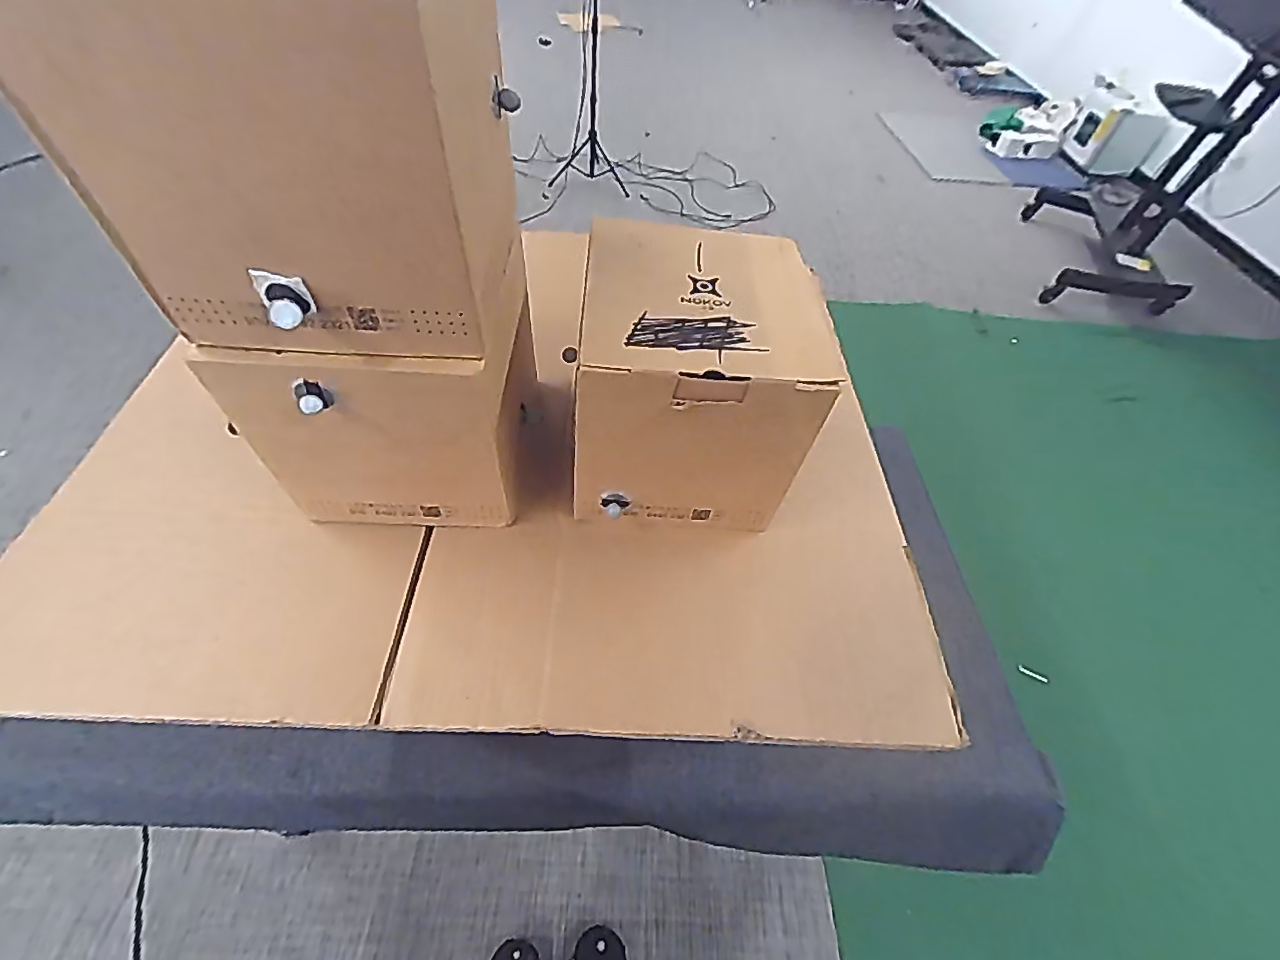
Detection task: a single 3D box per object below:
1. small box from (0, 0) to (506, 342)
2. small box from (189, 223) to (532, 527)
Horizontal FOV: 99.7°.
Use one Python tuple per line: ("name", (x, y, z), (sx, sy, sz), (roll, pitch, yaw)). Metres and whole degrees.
("small box", (-0.169, -0.198, 0.288), (0.168, 0.176, 0.179), (0, 55, -5))
("small box", (-0.181, -0.084, 0.424), (0.168, 0.176, 0.179), (2, 52, -2))
